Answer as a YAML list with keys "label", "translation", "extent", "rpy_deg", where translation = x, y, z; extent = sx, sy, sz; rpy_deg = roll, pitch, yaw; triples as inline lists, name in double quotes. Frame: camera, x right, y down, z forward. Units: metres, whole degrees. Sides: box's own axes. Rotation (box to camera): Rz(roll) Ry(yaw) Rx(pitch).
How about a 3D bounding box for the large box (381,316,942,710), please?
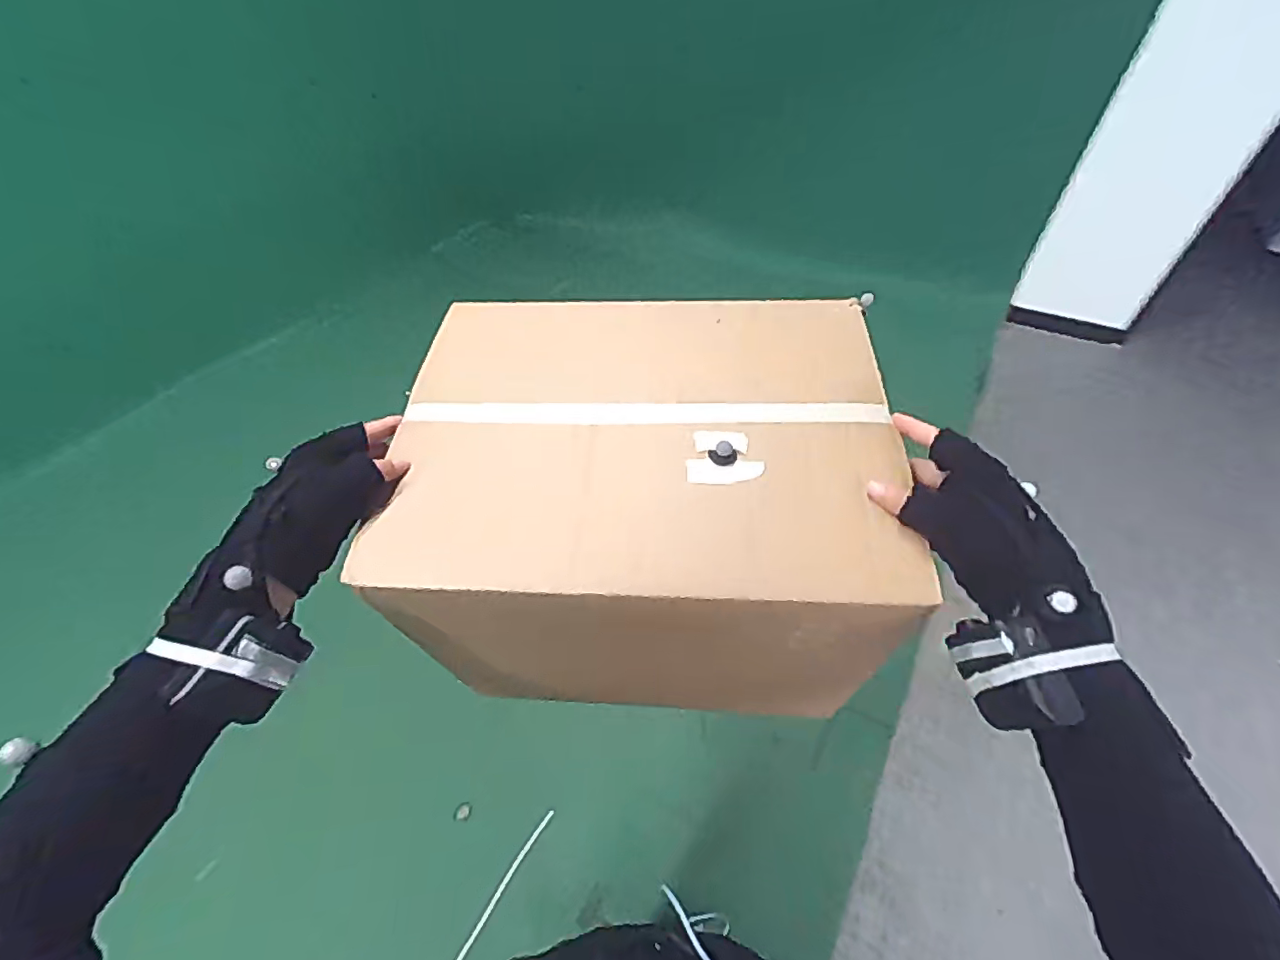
- label: "large box"
  translation: [0.022, 0.044, 0.583]
  extent: [0.408, 0.320, 0.320]
  rpy_deg: [2, 55, 4]
